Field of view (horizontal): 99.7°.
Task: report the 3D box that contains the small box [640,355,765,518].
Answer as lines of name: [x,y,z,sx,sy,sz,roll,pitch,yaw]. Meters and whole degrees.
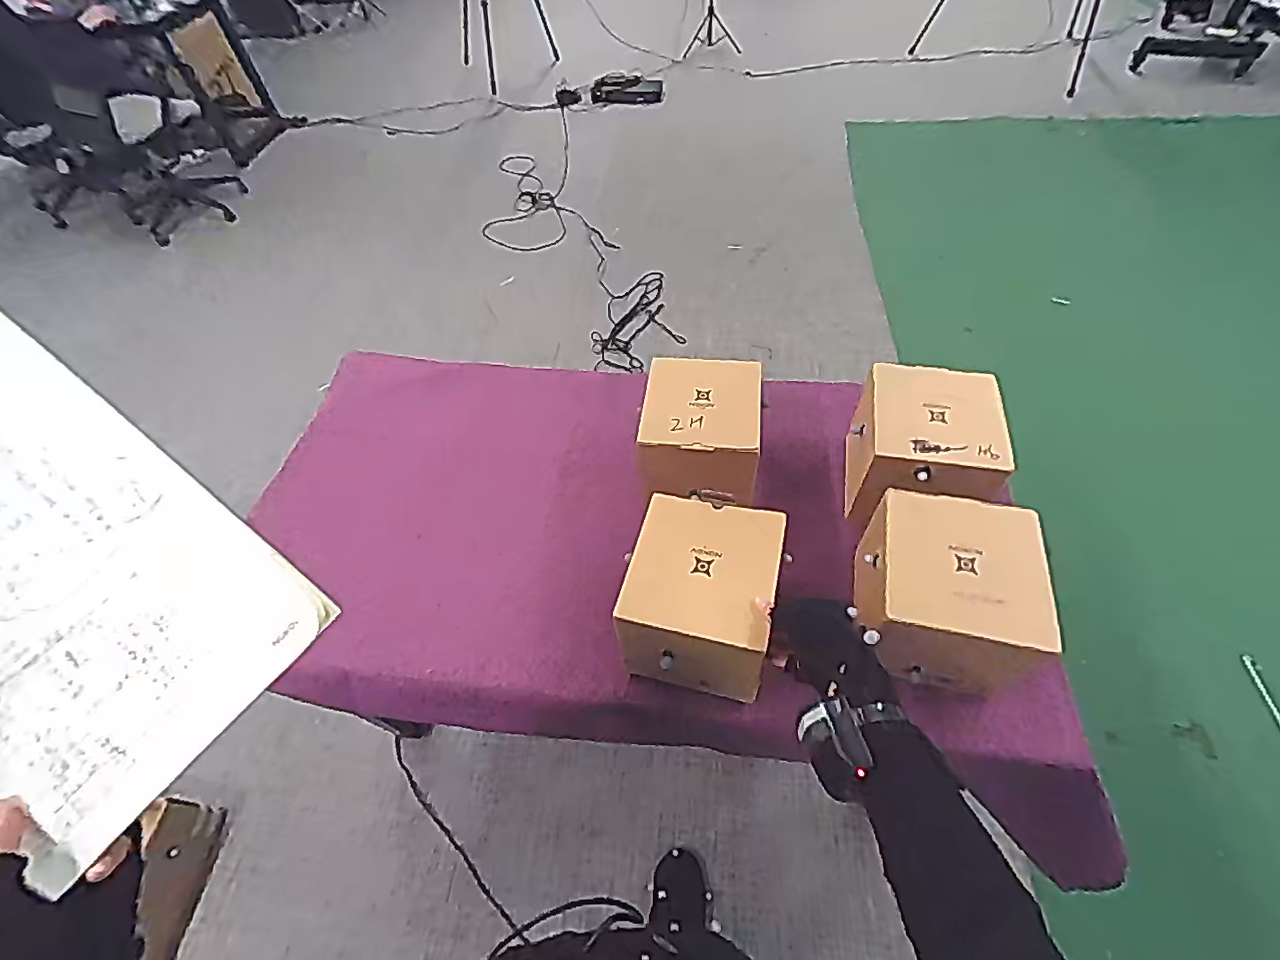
small box: [0.095,-0.065,0.824,0.168,0.176,0.179,5,55,8]

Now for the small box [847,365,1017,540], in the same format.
small box: [0.404,-0.039,0.783,0.168,0.176,0.179,9,55,11]
